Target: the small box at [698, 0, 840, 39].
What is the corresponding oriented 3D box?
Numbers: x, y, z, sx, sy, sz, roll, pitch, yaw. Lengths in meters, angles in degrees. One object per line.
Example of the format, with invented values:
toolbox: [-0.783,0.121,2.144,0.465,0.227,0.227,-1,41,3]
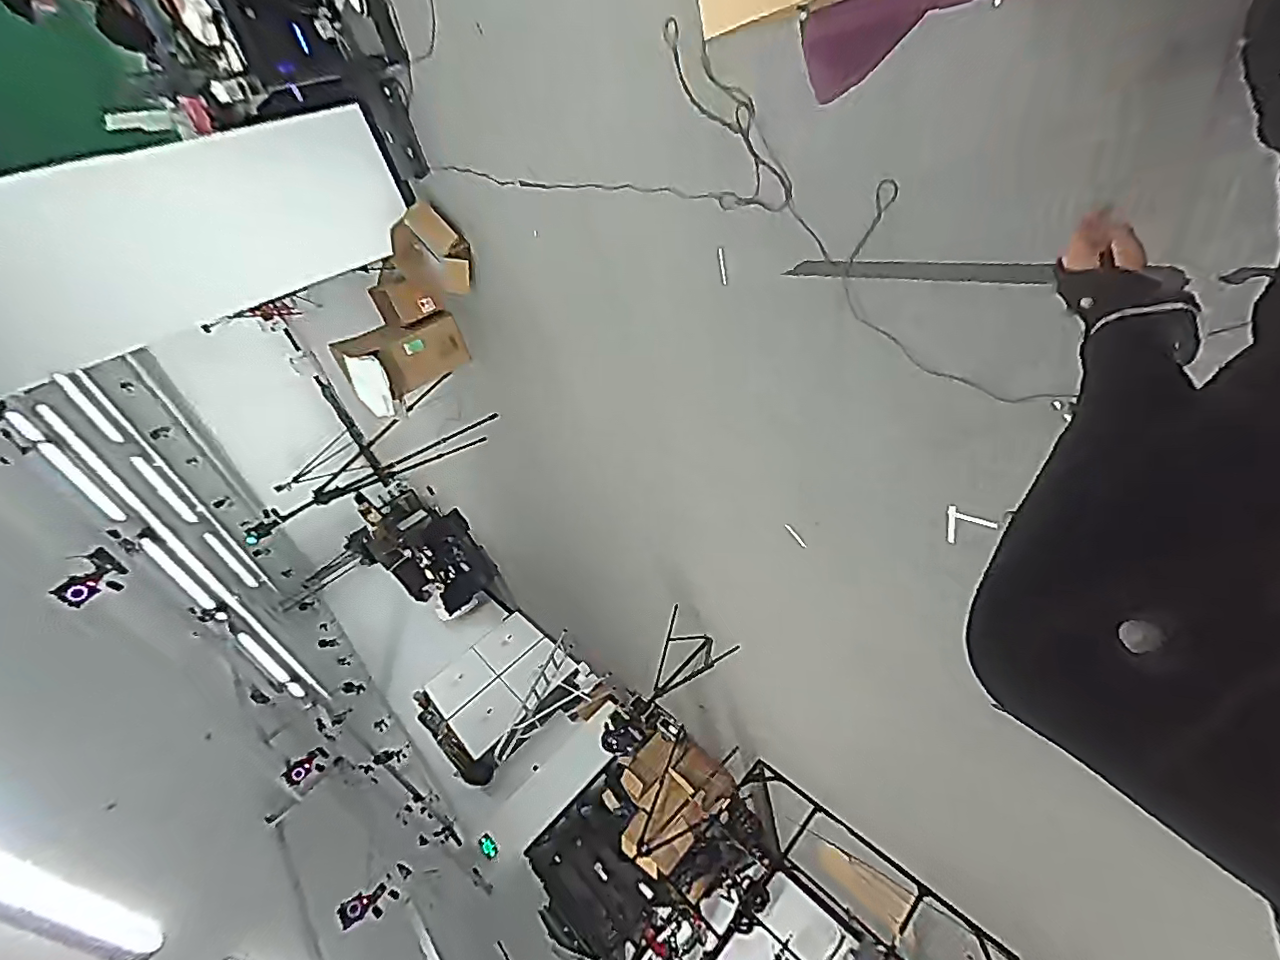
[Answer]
small box: [0.180,-0.678,0.665,0.179,0.176,0.168,20,138,44]
